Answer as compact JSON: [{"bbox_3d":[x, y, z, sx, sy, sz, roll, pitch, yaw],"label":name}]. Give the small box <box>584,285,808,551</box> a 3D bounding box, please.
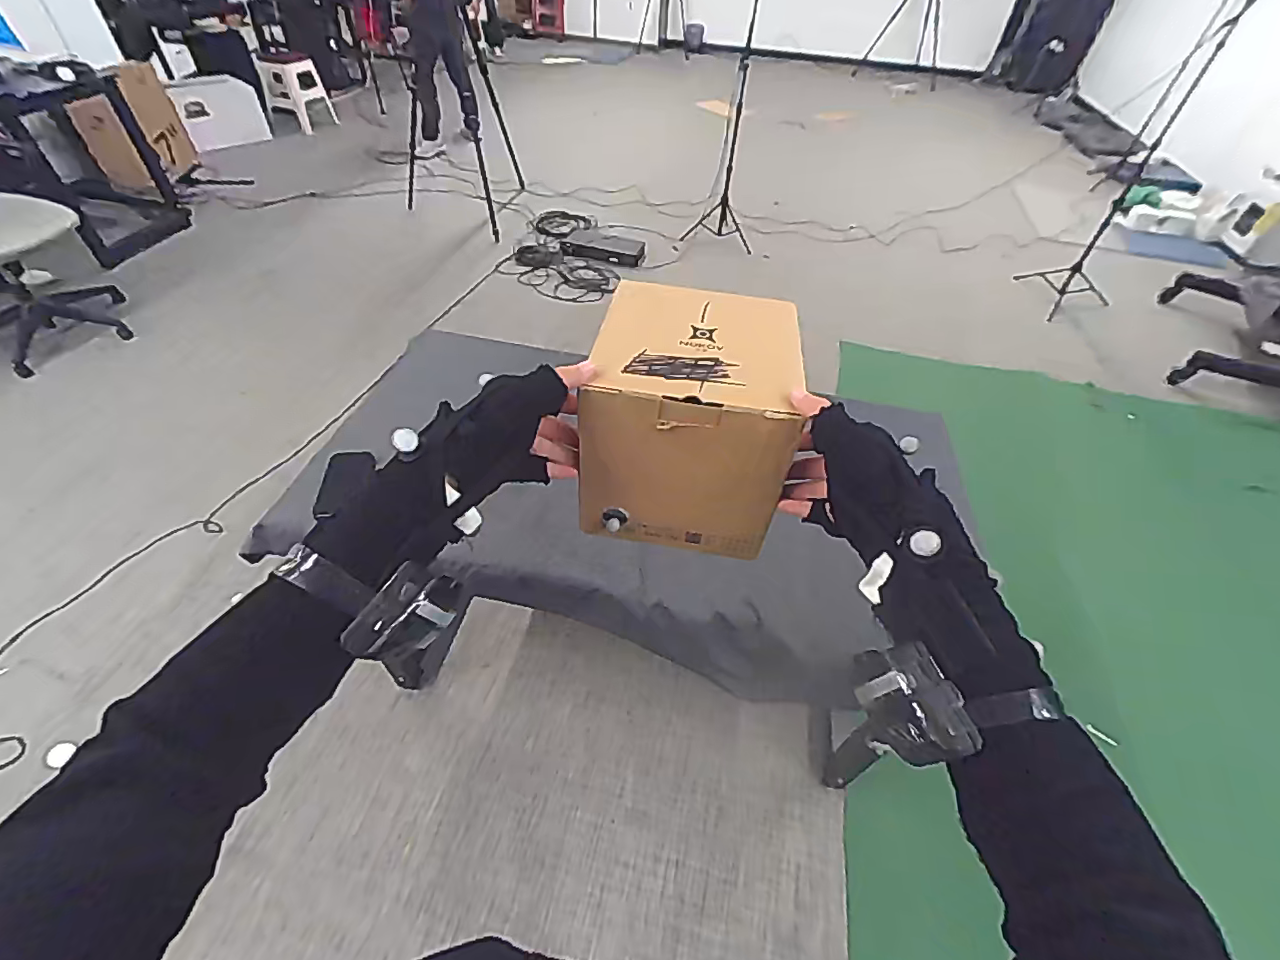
[{"bbox_3d":[0.048,-0.056,0.503,0.168,0.176,0.179,9,44,3],"label":"small box"}]
